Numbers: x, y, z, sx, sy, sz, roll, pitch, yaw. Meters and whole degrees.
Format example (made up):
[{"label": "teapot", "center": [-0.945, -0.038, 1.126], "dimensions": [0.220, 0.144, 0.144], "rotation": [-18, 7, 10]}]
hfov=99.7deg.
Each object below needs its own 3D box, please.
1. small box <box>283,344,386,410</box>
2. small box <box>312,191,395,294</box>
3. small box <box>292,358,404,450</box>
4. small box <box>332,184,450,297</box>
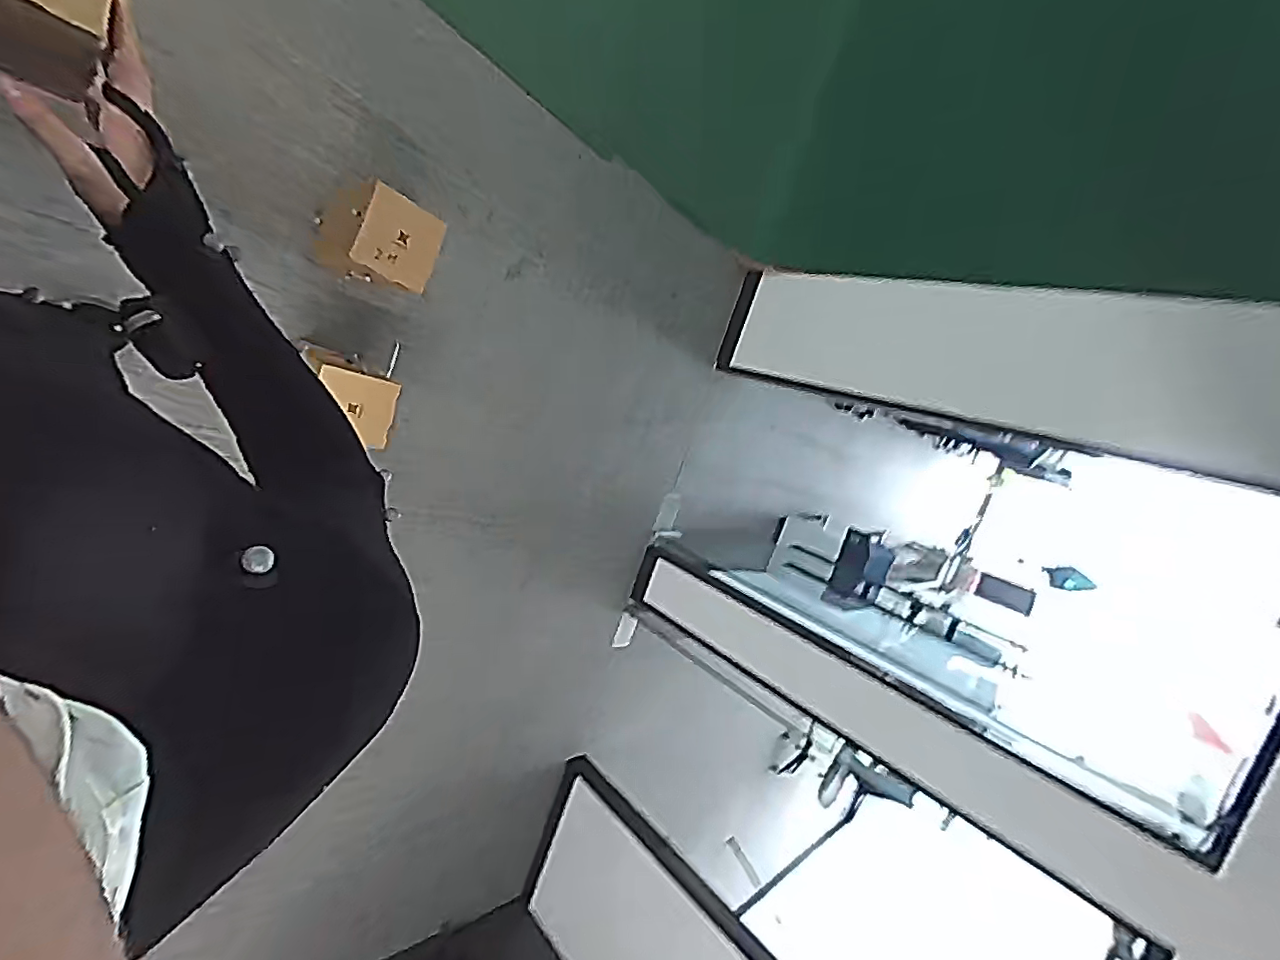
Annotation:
[{"label": "small box", "center": [-0.796, -0.236, 1.402], "dimensions": [0.168, 0.176, 0.179], "rotation": [17, 96, -48]}, {"label": "small box", "center": [-0.690, -0.590, 1.348], "dimensions": [0.168, 0.176, 0.179], "rotation": [19, 95, -49]}, {"label": "small box", "center": [-0.698, -0.183, 1.284], "dimensions": [0.179, 0.176, 0.168], "rotation": [11, 100, -48]}, {"label": "small box", "center": [-0.574, -0.546, 1.238], "dimensions": [0.168, 0.176, 0.179], "rotation": [21, 94, -48]}]
